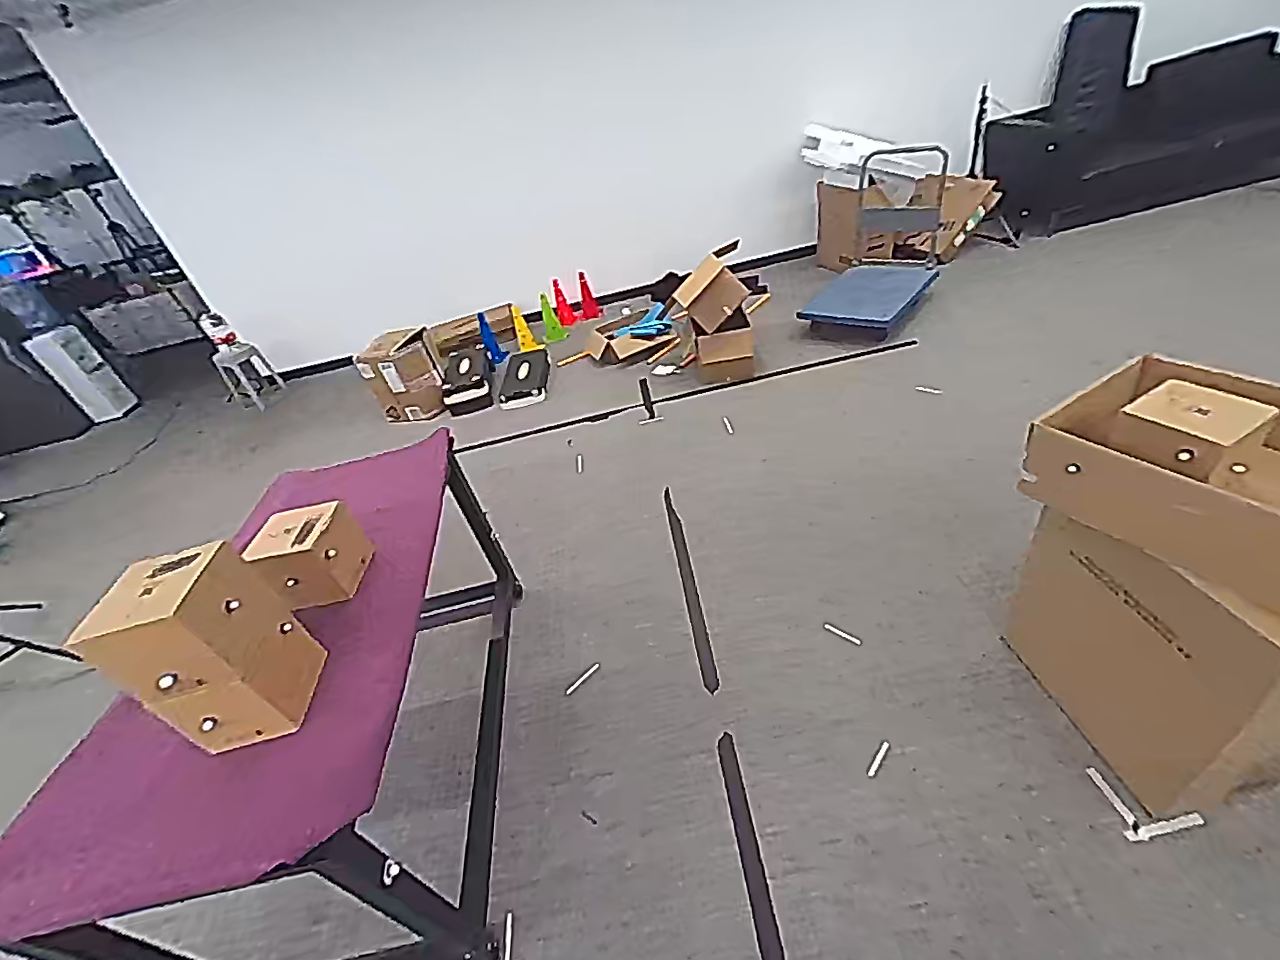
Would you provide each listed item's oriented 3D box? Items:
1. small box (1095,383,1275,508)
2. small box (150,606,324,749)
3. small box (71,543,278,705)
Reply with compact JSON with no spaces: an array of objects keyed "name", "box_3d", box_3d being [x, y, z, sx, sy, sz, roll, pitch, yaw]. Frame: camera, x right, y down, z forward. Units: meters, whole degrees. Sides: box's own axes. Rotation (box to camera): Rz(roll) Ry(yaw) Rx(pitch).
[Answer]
[{"name":"small box","box_3d":[1.080,-0.065,1.088,0.168,0.176,0.179,-26,38,-14]},{"name":"small box","box_3d":[-0.724,0.370,1.000,0.168,0.176,0.179,-15,36,-1]},{"name":"small box","box_3d":[-0.752,0.238,0.904,0.168,0.176,0.179,-16,36,-1]}]
